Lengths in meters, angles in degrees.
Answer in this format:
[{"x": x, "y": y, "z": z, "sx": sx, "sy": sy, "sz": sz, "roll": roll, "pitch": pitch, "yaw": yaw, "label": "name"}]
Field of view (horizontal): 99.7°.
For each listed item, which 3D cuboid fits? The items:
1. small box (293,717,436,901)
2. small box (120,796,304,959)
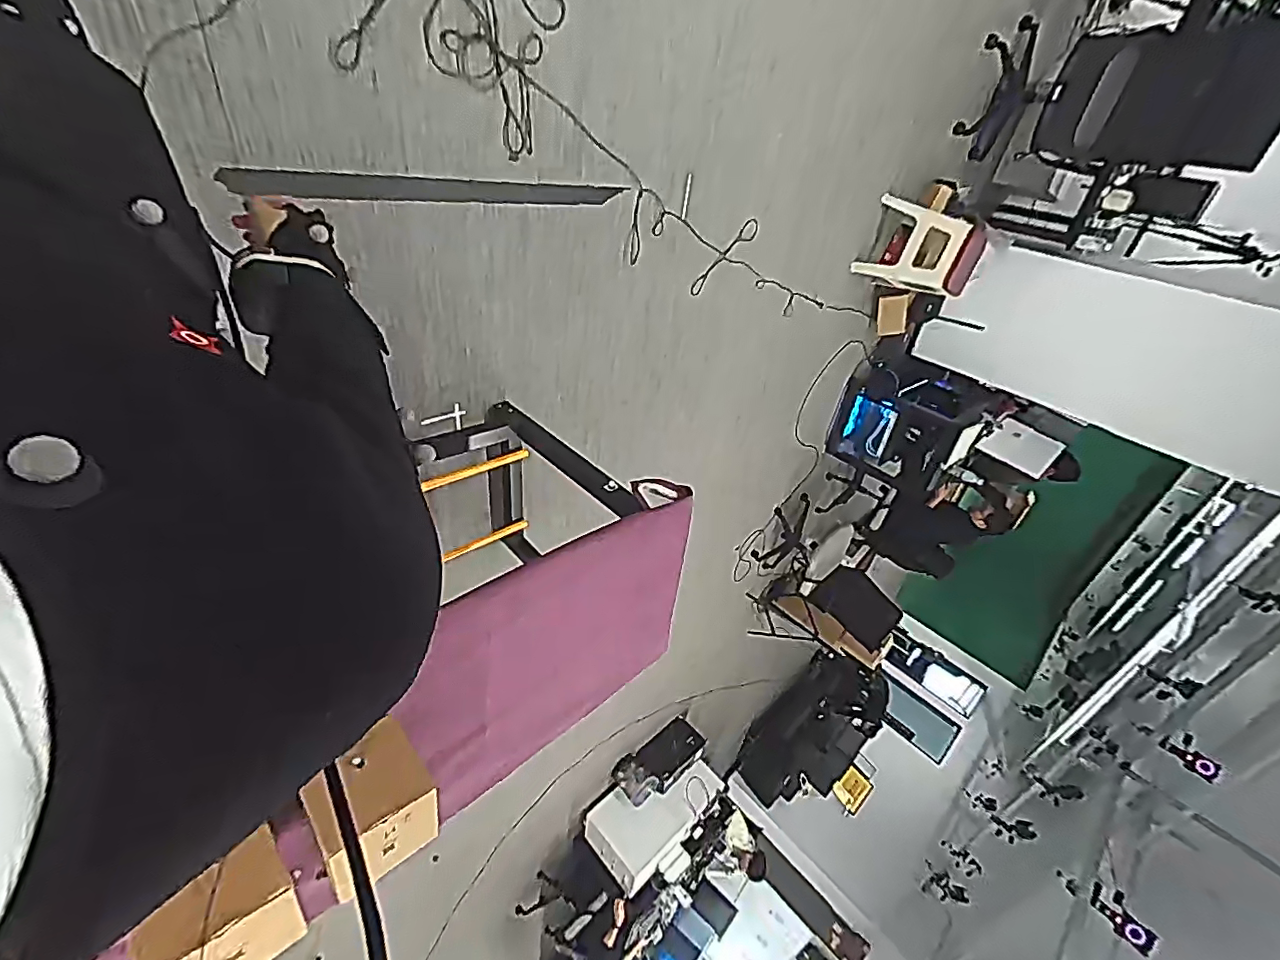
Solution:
[{"x": -0.464, "y": 0.547, "z": 0.918, "sx": 0.168, "sy": 0.176, "sz": 0.179, "roll": -20, "pitch": 134, "yaw": -40, "label": "small box"}, {"x": -0.617, "y": 0.611, "z": 0.789, "sx": 0.168, "sy": 0.176, "sz": 0.179, "roll": -20, "pitch": 135, "yaw": -41, "label": "small box"}]
